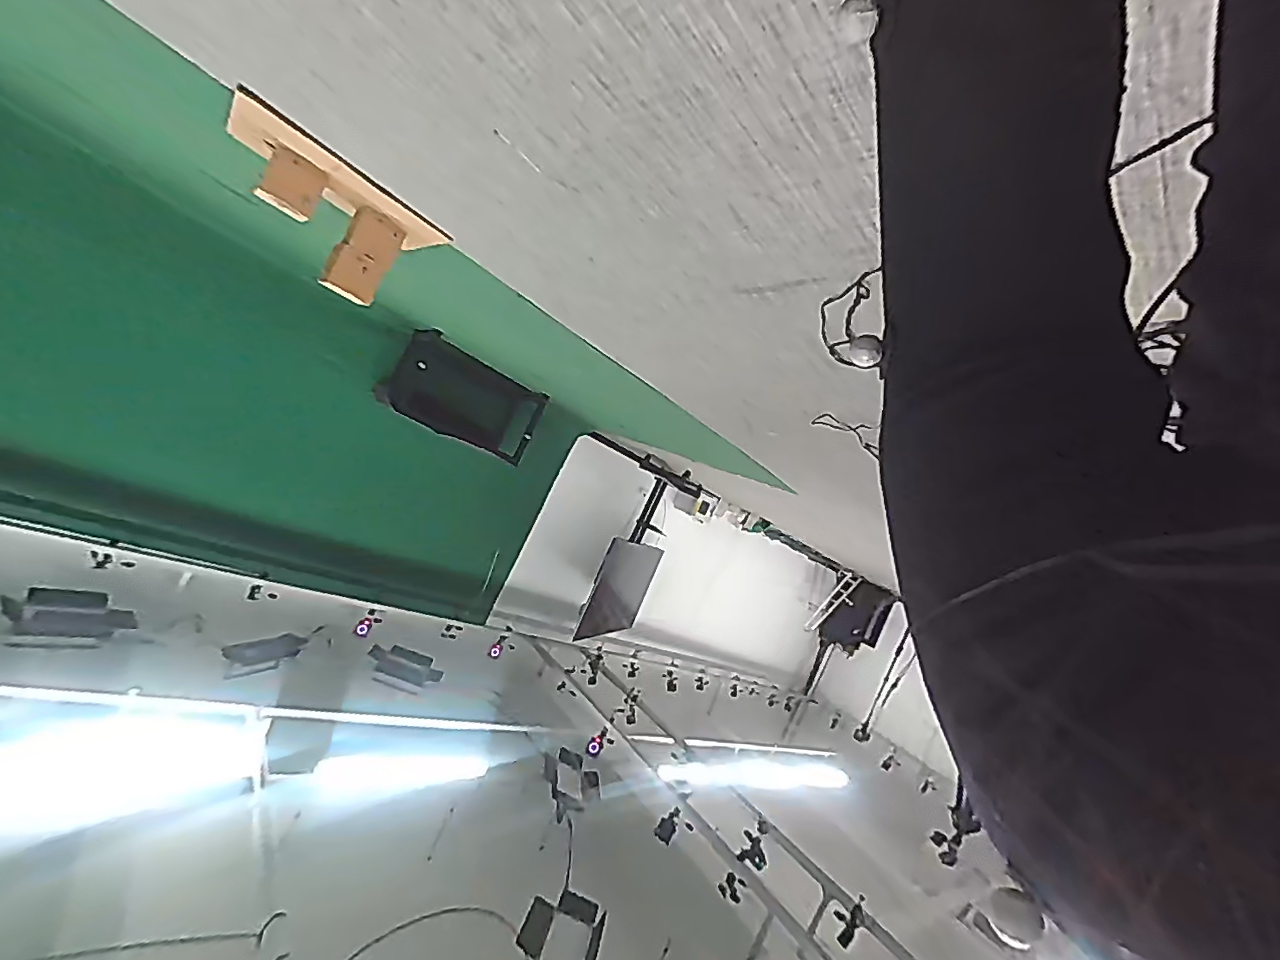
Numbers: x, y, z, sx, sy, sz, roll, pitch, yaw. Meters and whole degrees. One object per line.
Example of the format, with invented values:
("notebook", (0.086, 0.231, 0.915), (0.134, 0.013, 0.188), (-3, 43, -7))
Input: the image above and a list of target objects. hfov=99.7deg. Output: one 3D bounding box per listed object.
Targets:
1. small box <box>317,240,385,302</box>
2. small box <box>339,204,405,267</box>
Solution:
("small box", (-1.149, -0.833, 2.153), (0.179, 0.176, 0.168), (23, 176, 45))
("small box", (-1.067, -0.974, 2.154), (0.168, 0.176, 0.179), (28, 178, -43))
